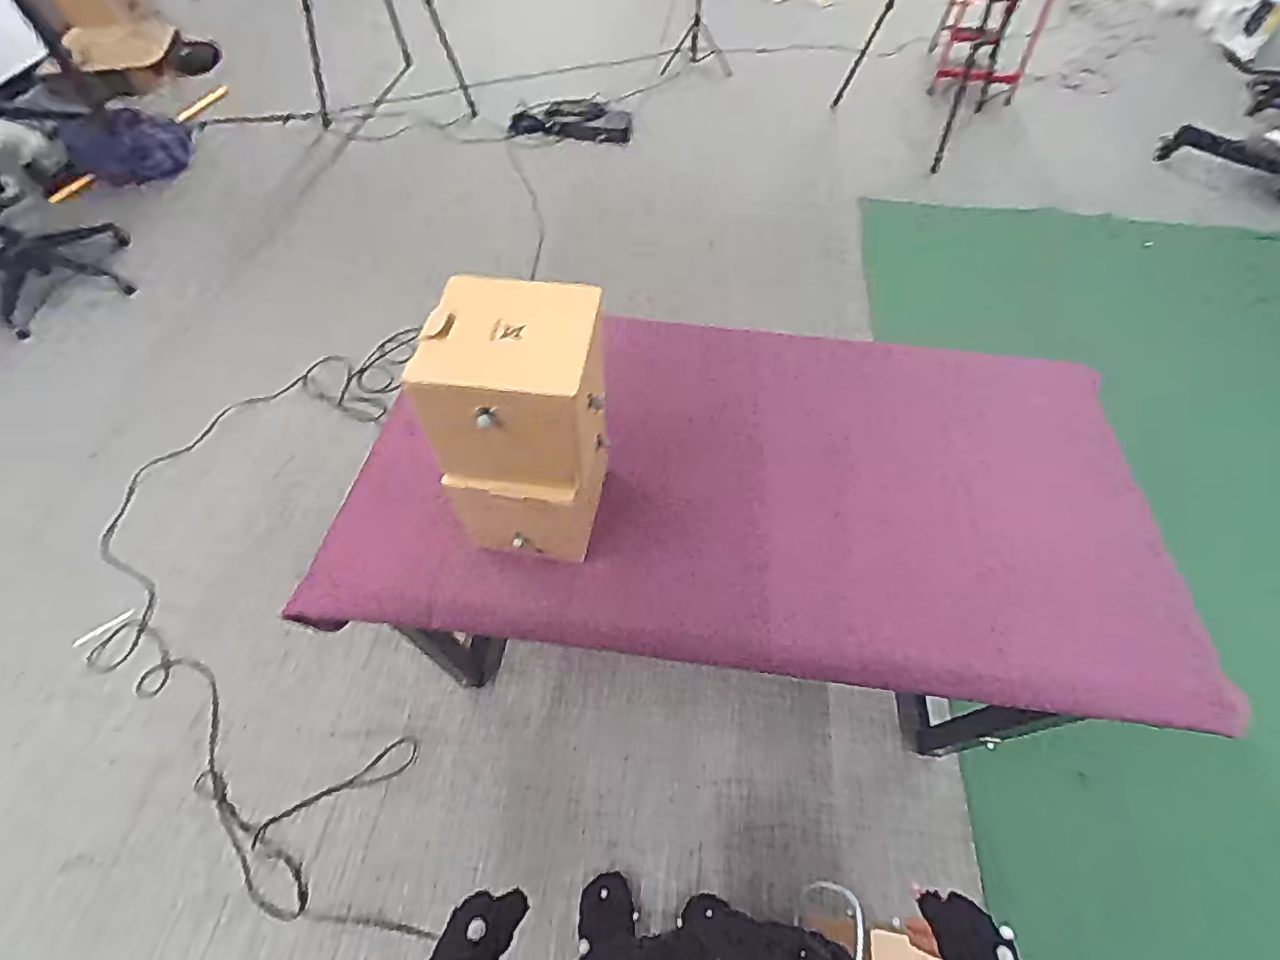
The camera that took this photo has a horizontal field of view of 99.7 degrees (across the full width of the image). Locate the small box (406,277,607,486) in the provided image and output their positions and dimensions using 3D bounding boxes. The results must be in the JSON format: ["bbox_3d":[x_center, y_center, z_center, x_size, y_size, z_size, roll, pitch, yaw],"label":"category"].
[{"bbox_3d":[-0.135,-0.107,0.632,0.179,0.176,0.168,6,57,3],"label":"small box"}]

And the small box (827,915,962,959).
[{"bbox_3d":[0.415,0.853,0.892,0.168,0.176,0.179,10,56,5],"label":"small box"}]

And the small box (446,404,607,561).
[{"bbox_3d":[-0.146,-0.010,0.762,0.168,0.176,0.179,10,57,5],"label":"small box"}]
